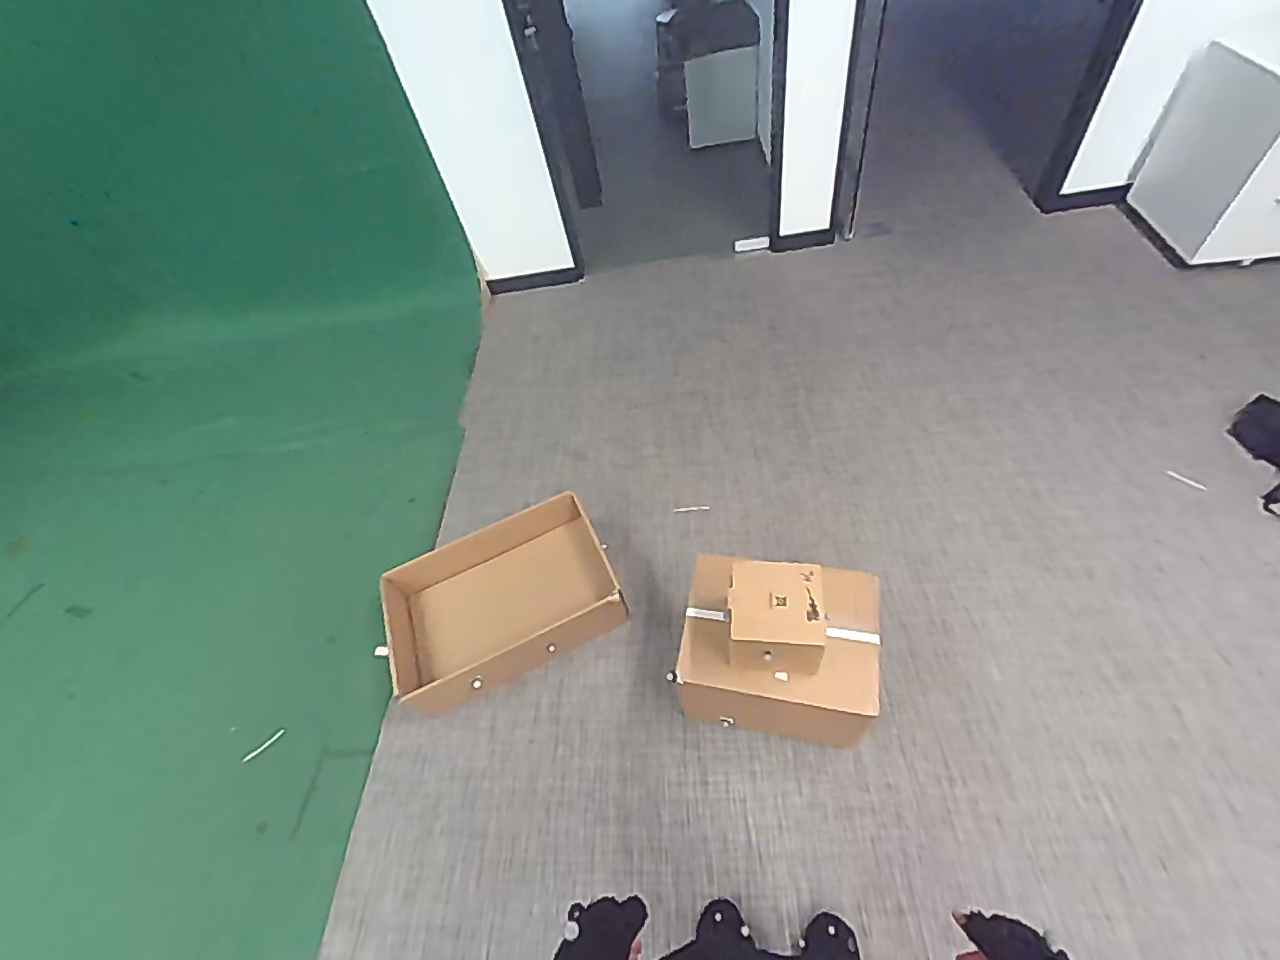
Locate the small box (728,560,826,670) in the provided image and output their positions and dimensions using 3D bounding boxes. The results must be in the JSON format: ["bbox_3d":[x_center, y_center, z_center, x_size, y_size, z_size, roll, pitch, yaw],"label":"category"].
[{"bbox_3d":[0.274,0.275,1.093,0.179,0.176,0.168,0,54,12],"label":"small box"}]
